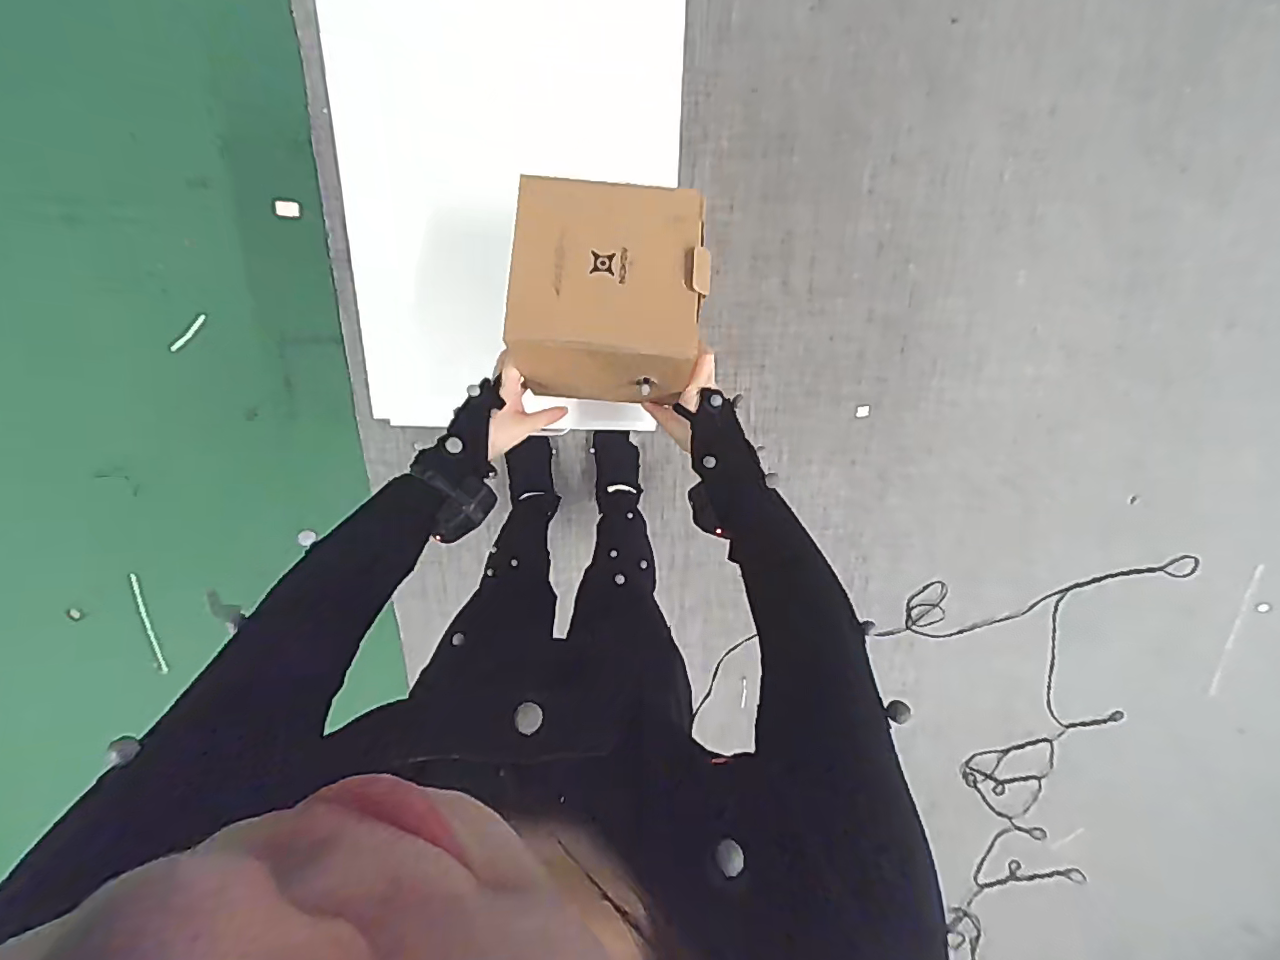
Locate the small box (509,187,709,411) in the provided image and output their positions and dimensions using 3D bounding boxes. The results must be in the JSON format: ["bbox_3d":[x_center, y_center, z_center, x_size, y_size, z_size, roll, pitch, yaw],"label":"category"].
[{"bbox_3d":[-0.029,-0.176,0.575,0.179,0.176,0.168,3,81,-1],"label":"small box"}]
